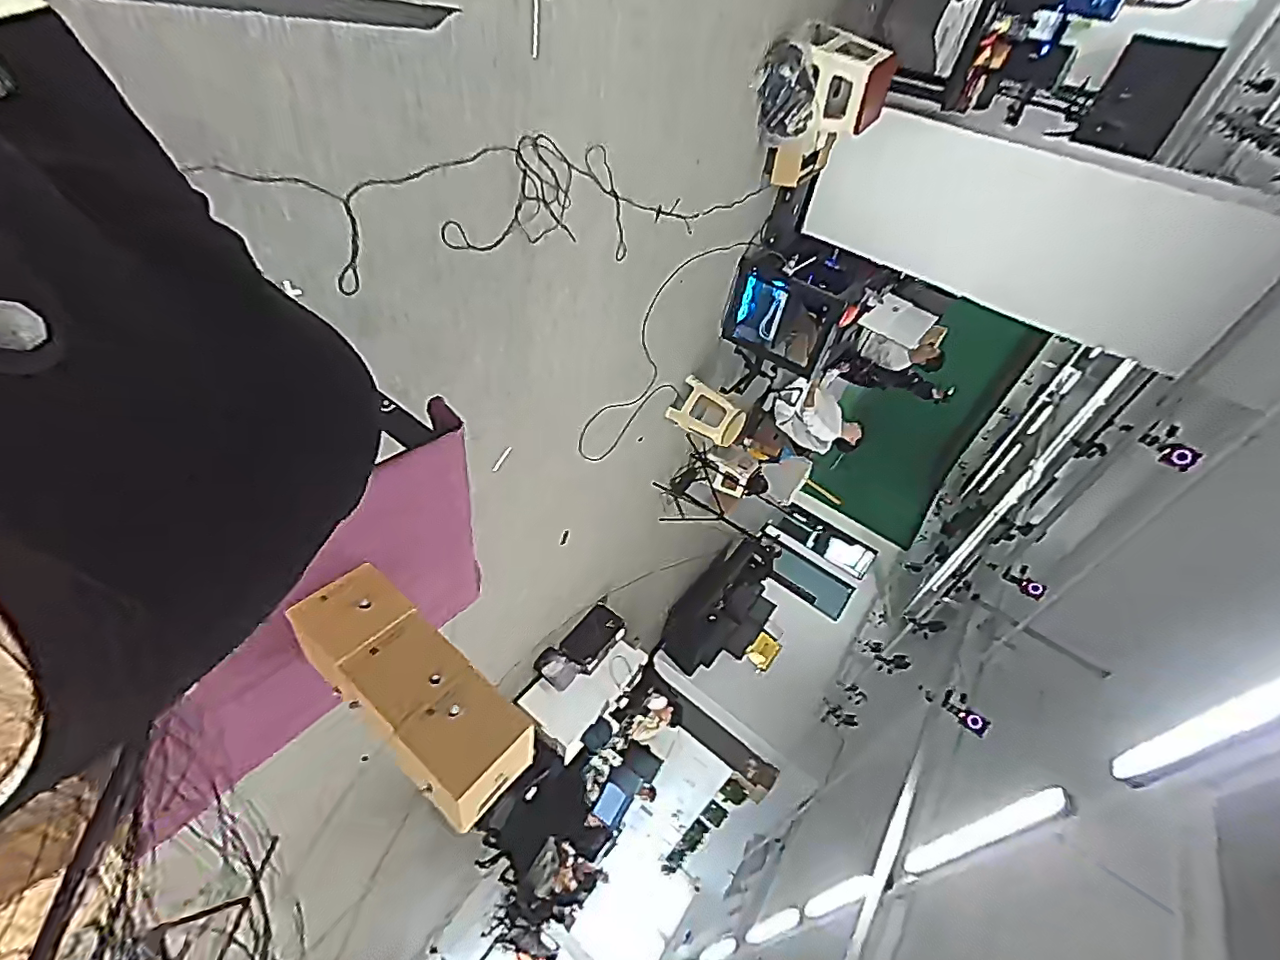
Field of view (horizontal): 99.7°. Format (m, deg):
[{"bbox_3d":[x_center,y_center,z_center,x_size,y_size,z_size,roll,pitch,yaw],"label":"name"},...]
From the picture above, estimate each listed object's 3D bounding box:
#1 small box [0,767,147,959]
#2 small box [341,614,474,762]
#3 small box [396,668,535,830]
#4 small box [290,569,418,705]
[{"bbox_3d":[-0.868,0.555,0.774,0.168,0.176,0.179,-36,151,-46],"label":"small box"},{"bbox_3d":[-0.438,0.393,1.037,0.168,0.176,0.179,-39,153,-41],"label":"small box"},{"bbox_3d":[-0.311,0.477,0.974,0.168,0.176,0.179,-38,152,-41],"label":"small box"},{"bbox_3d":[-0.566,0.305,1.090,0.168,0.176,0.179,-38,152,-41],"label":"small box"}]
